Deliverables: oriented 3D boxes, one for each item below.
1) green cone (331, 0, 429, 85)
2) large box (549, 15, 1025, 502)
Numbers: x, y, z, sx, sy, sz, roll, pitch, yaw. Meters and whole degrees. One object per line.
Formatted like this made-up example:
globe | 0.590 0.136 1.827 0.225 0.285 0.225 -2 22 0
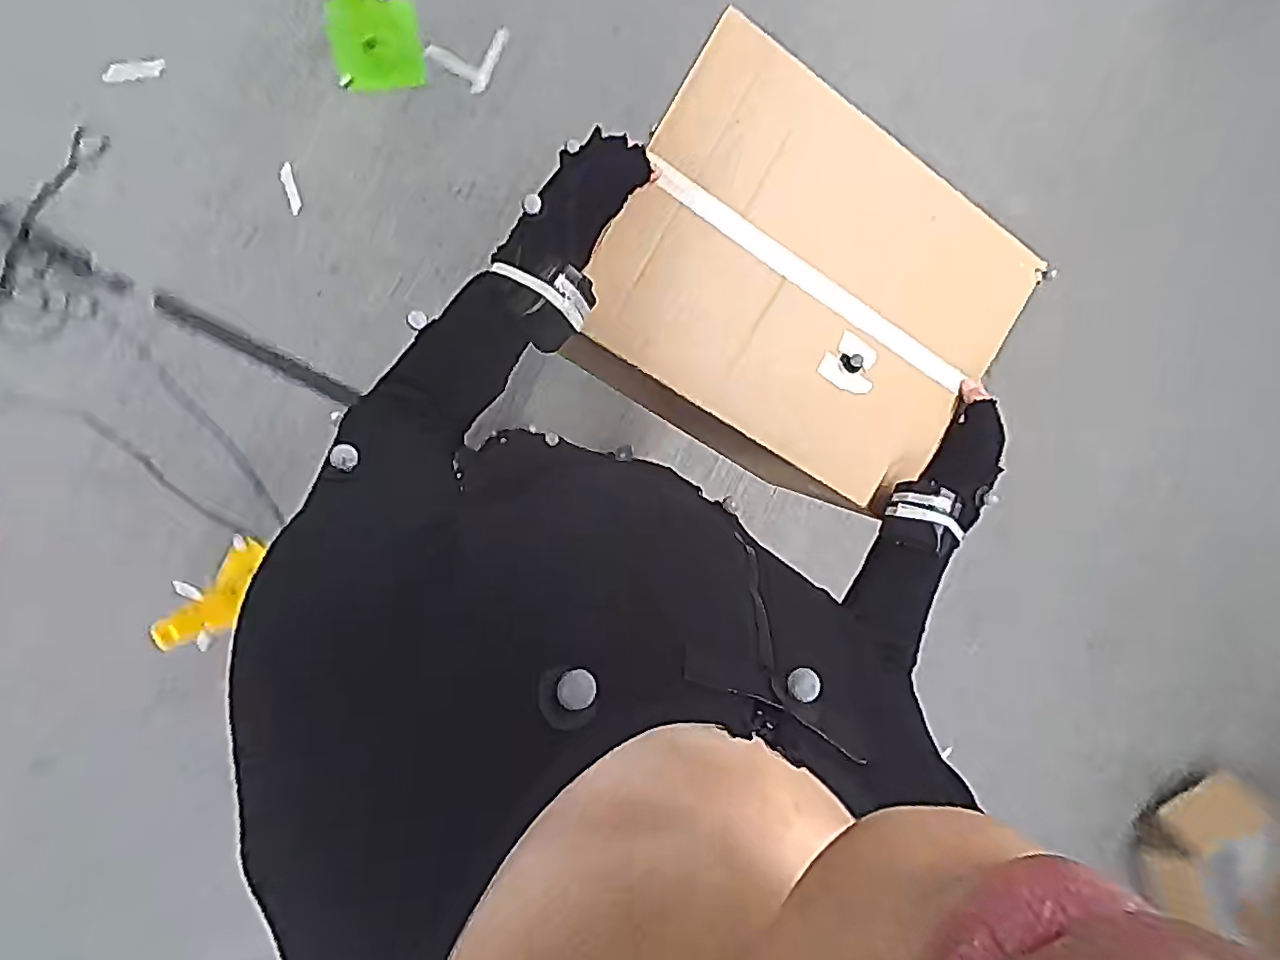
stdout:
green cone | -0.593 -1.052 1.133 0.200 0.368 0.202 -11 94 -9
large box | 0.135 -0.214 0.670 0.408 0.320 0.320 28 92 -13
